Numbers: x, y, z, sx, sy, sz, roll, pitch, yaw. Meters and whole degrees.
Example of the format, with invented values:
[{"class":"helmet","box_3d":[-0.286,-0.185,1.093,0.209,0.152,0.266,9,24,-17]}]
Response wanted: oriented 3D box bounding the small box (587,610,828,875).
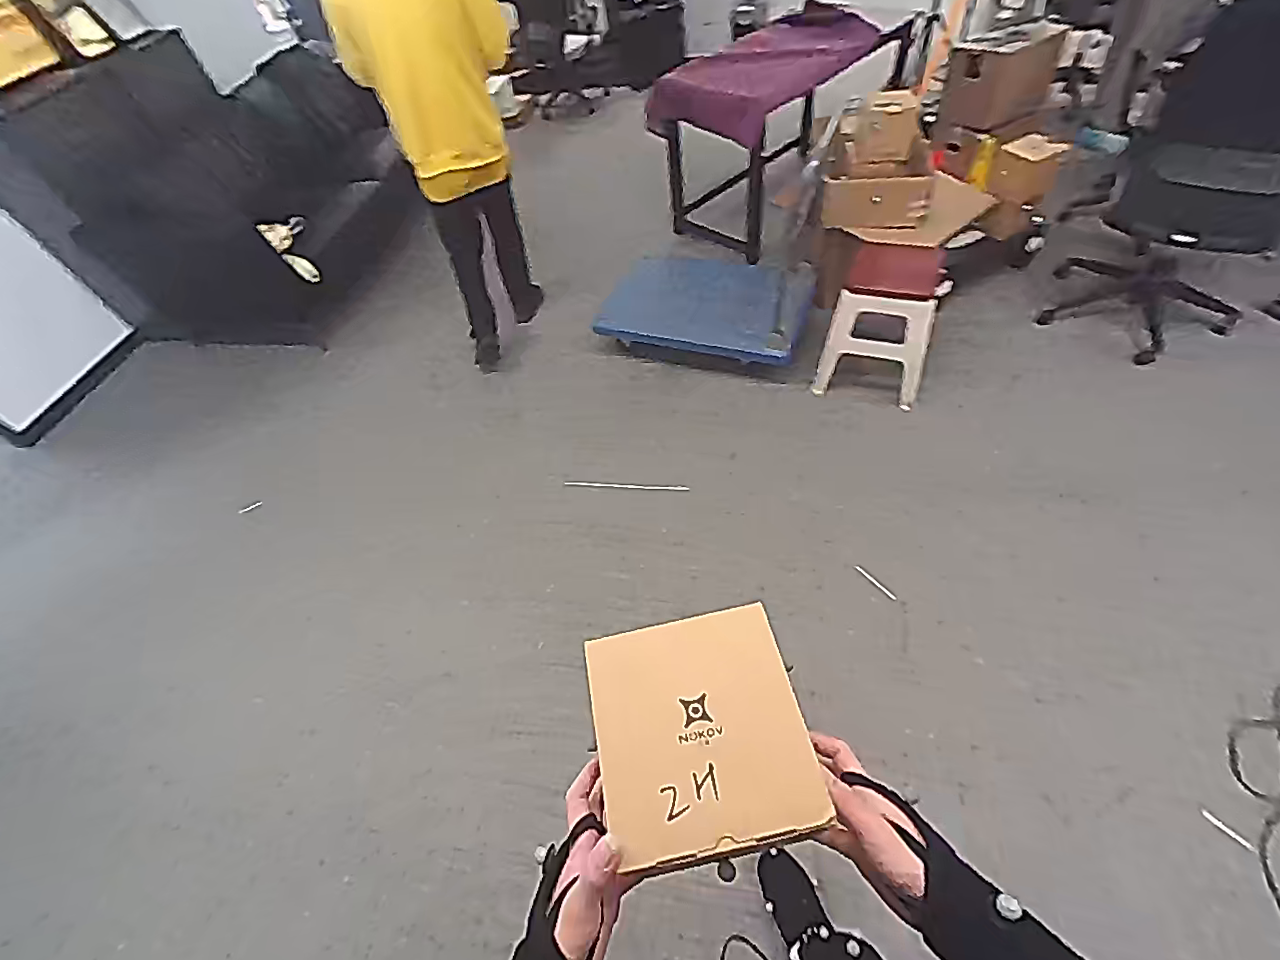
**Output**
[{"class":"small box","box_3d":[0.051,0.248,0.504,0.168,0.176,0.179,-12,53,-1]}]
